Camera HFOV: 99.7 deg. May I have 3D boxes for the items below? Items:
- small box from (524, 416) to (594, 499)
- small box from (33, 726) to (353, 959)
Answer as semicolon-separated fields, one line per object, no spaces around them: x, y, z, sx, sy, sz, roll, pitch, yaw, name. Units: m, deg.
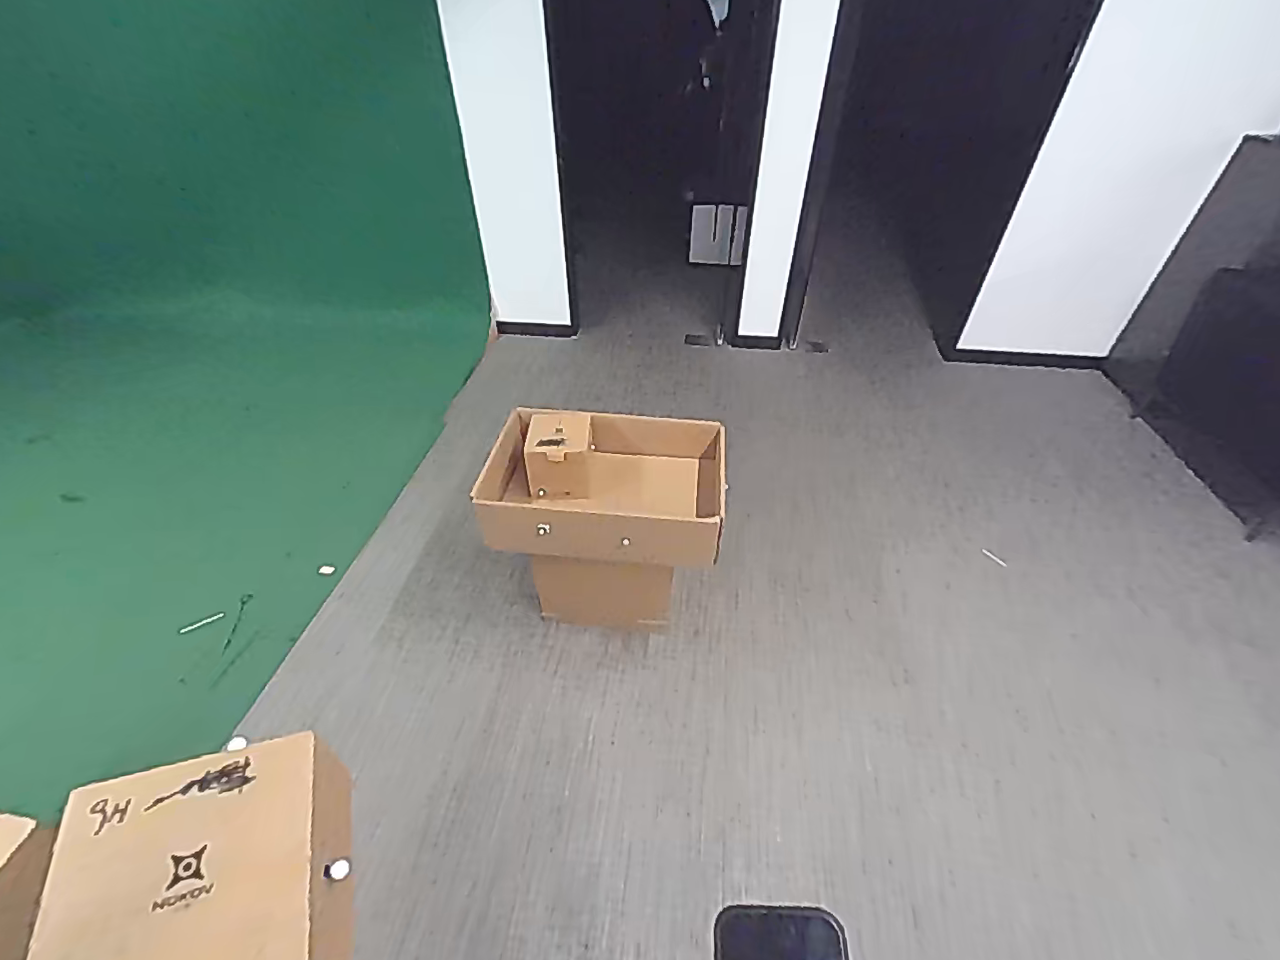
-0.218;-0.061;1.501;0.168;0.176;0.179;0;41;-1;small box
-0.352;0.340;0.463;0.168;0.176;0.179;-6;54;-21;small box
